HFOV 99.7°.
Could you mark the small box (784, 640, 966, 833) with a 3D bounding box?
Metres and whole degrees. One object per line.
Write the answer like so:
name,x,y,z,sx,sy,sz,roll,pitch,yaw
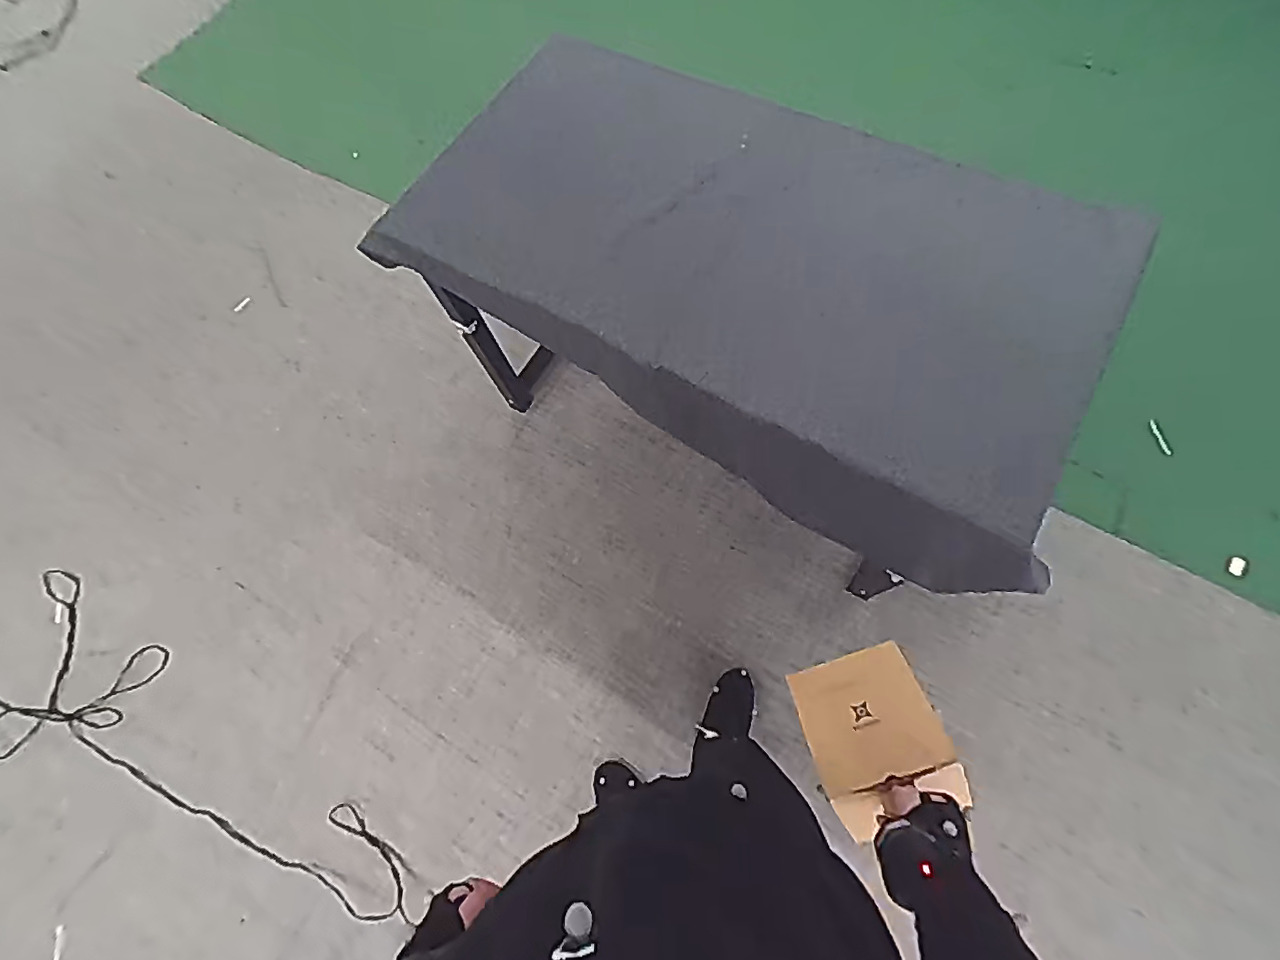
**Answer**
small box,0.325,0.363,0.753,0.168,0.176,0.179,-24,35,11
